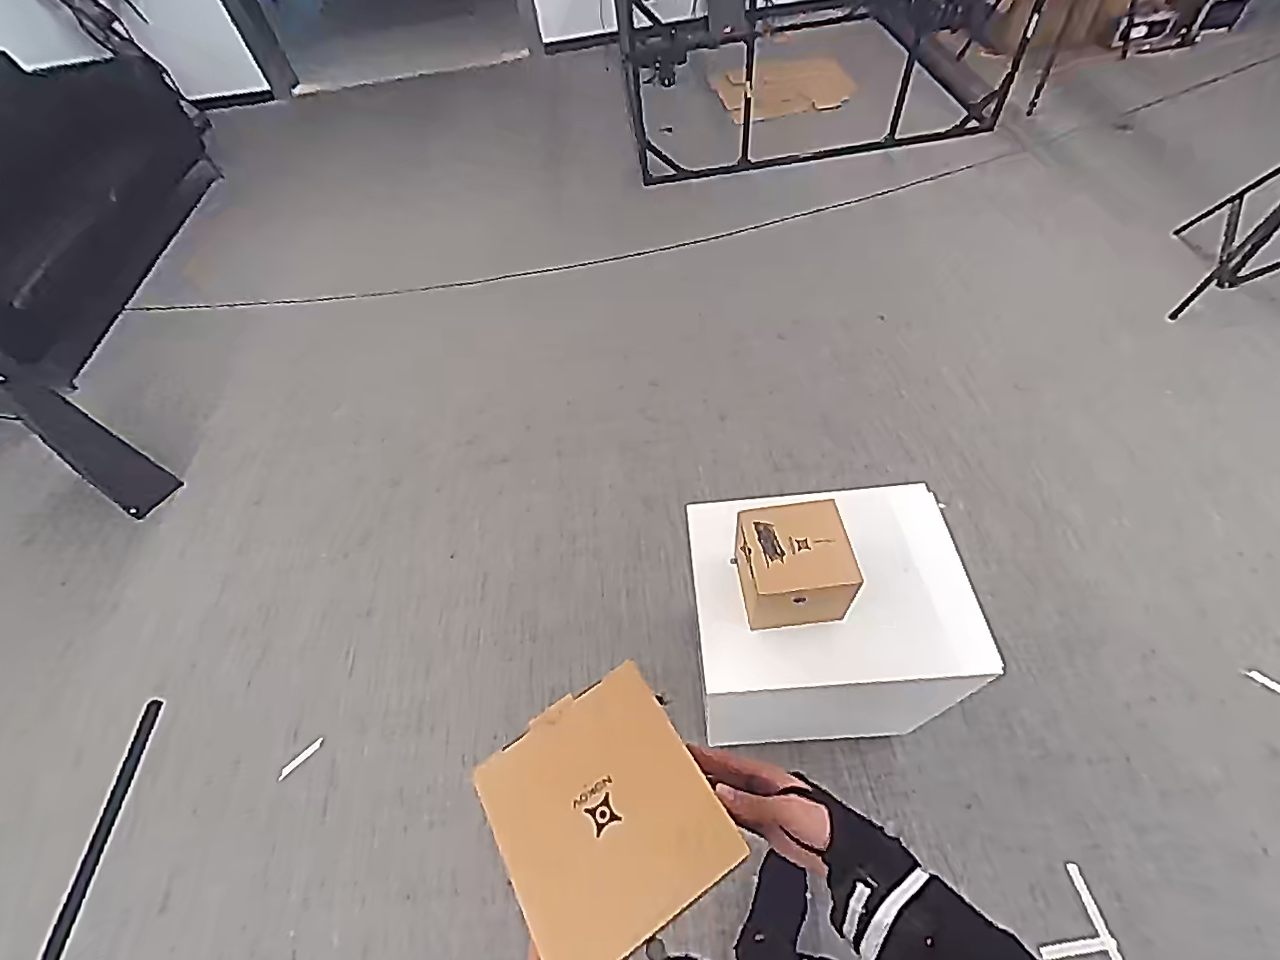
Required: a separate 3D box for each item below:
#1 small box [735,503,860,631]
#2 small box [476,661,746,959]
[{"bbox_3d":[0.273,0.164,0.986,0.179,0.176,0.168,-7,55,1],"label":"small box"},{"bbox_3d":[-0.017,0.305,0.495,0.168,0.176,0.179,-32,53,-11],"label":"small box"}]
